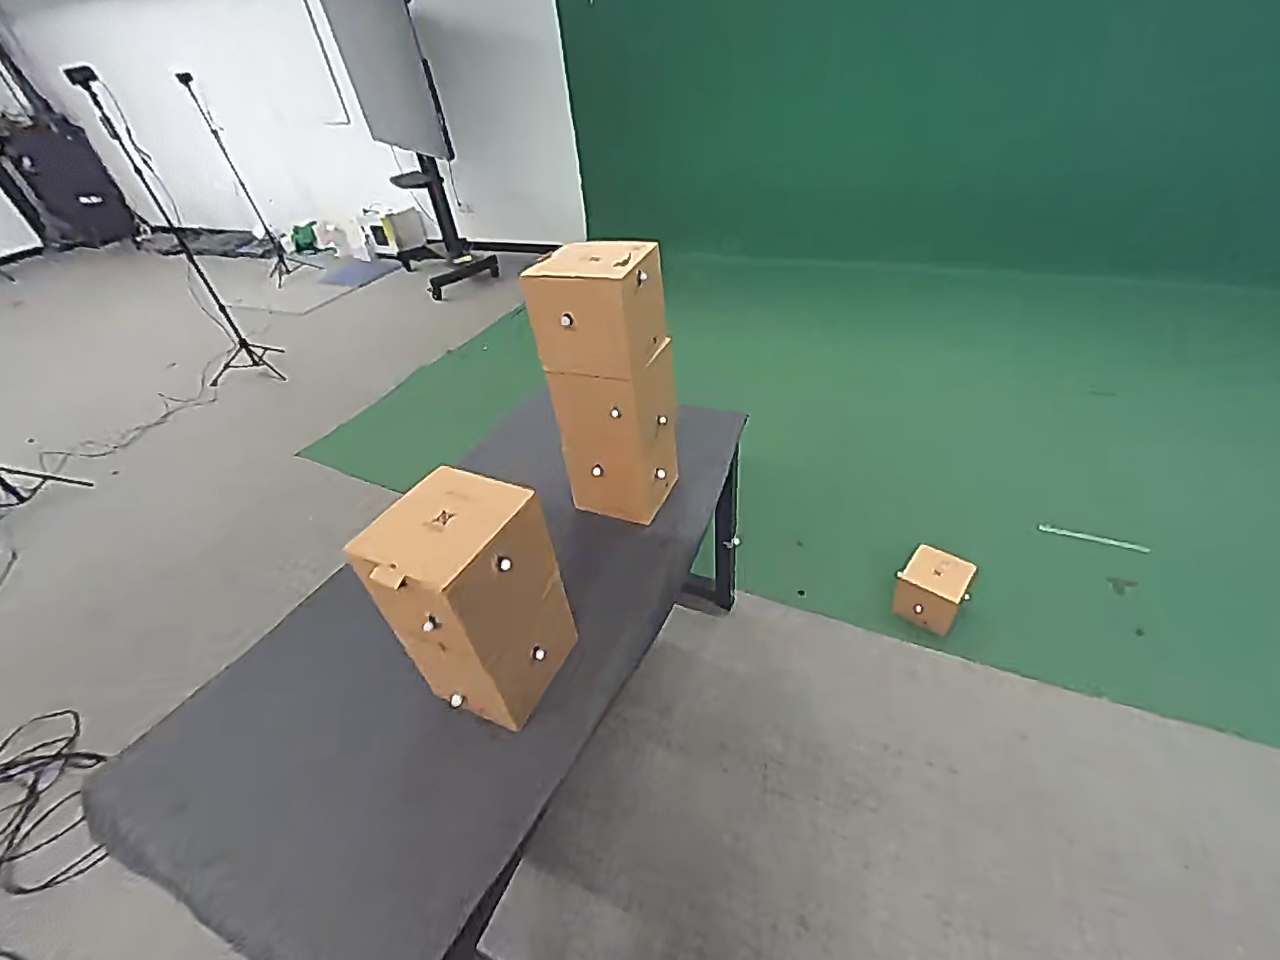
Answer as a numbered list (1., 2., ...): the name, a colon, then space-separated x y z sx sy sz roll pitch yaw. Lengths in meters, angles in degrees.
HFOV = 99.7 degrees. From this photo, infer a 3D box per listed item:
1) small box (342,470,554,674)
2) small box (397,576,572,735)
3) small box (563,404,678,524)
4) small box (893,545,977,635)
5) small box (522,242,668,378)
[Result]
1. small box: -0.231 0.117 0.702 0.168 0.176 0.179 14 43 23
2. small box: -0.216 0.239 0.808 0.168 0.176 0.179 13 44 23
3. small box: -0.029 -0.032 1.108 0.179 0.176 0.168 12 43 23
4. small box: 0.902 0.343 1.670 0.168 0.176 0.179 27 50 33
5. small box: -0.064 -0.283 0.899 0.179 0.176 0.168 9 43 21
